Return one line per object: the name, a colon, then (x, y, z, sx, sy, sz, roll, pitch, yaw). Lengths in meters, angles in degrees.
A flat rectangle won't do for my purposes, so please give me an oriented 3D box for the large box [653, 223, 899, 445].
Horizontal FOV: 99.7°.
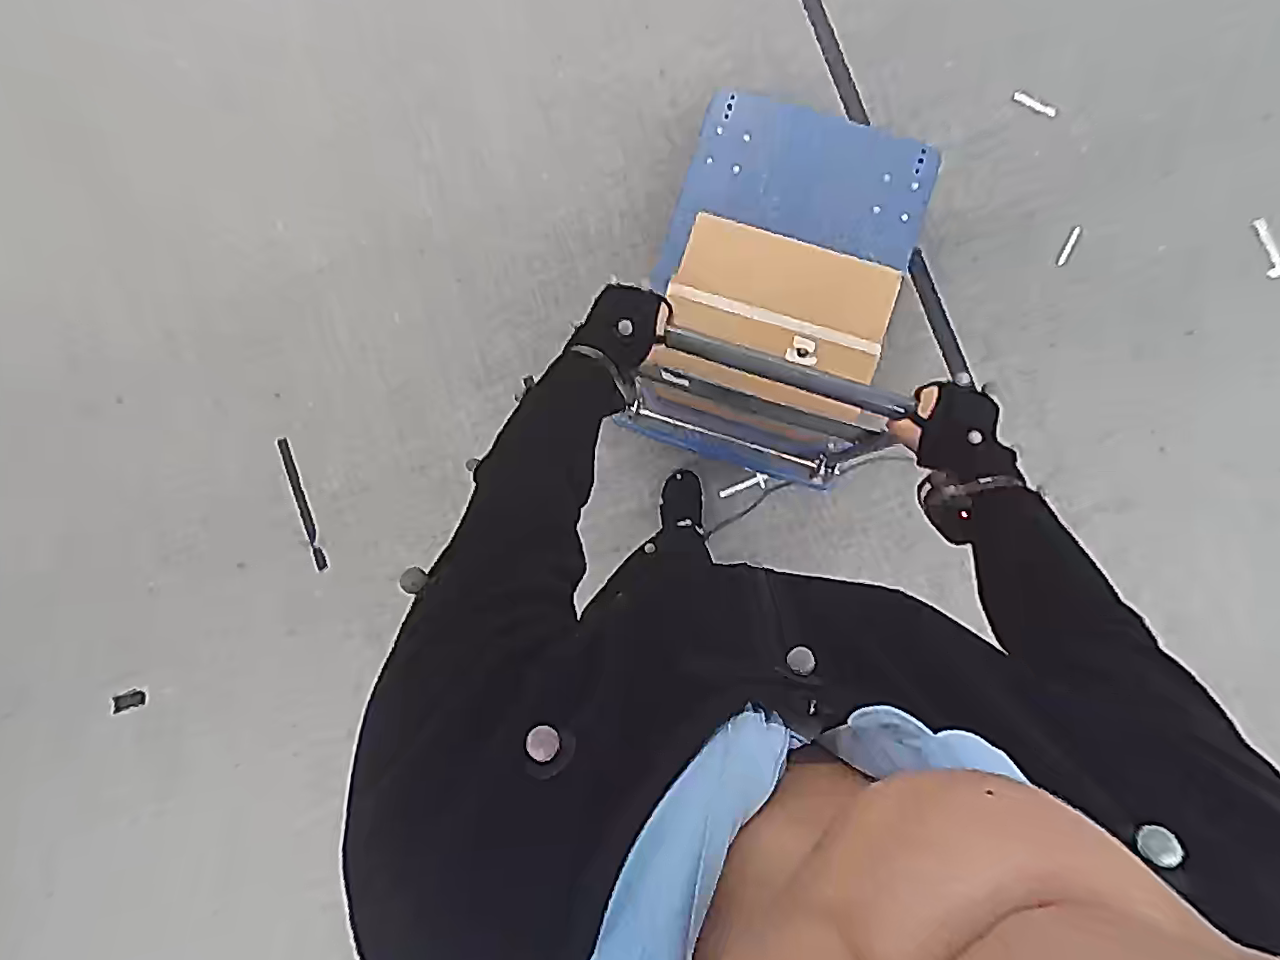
large box: (0.259, -0.289, 1.169, 0.408, 0.320, 0.320, 18, 90, 2)
